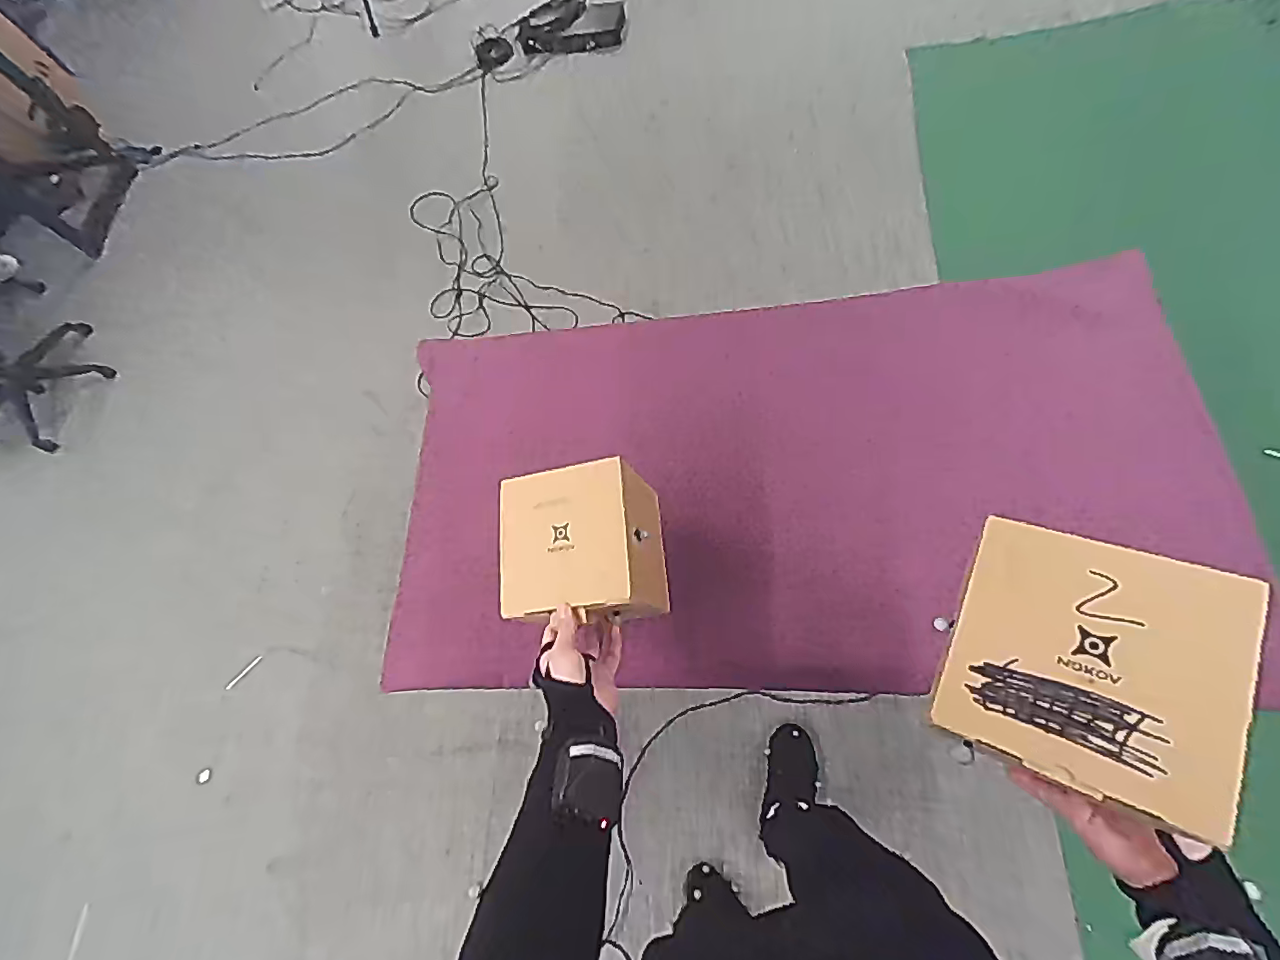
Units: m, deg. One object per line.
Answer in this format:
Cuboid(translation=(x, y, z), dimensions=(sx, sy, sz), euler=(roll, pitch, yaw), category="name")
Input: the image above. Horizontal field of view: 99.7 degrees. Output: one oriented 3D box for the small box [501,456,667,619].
Cuboid(translation=(-0.067, 0.088, 0.719), dimensions=(0.168, 0.176, 0.179), euler=(-10, 69, 15), category="small box")
